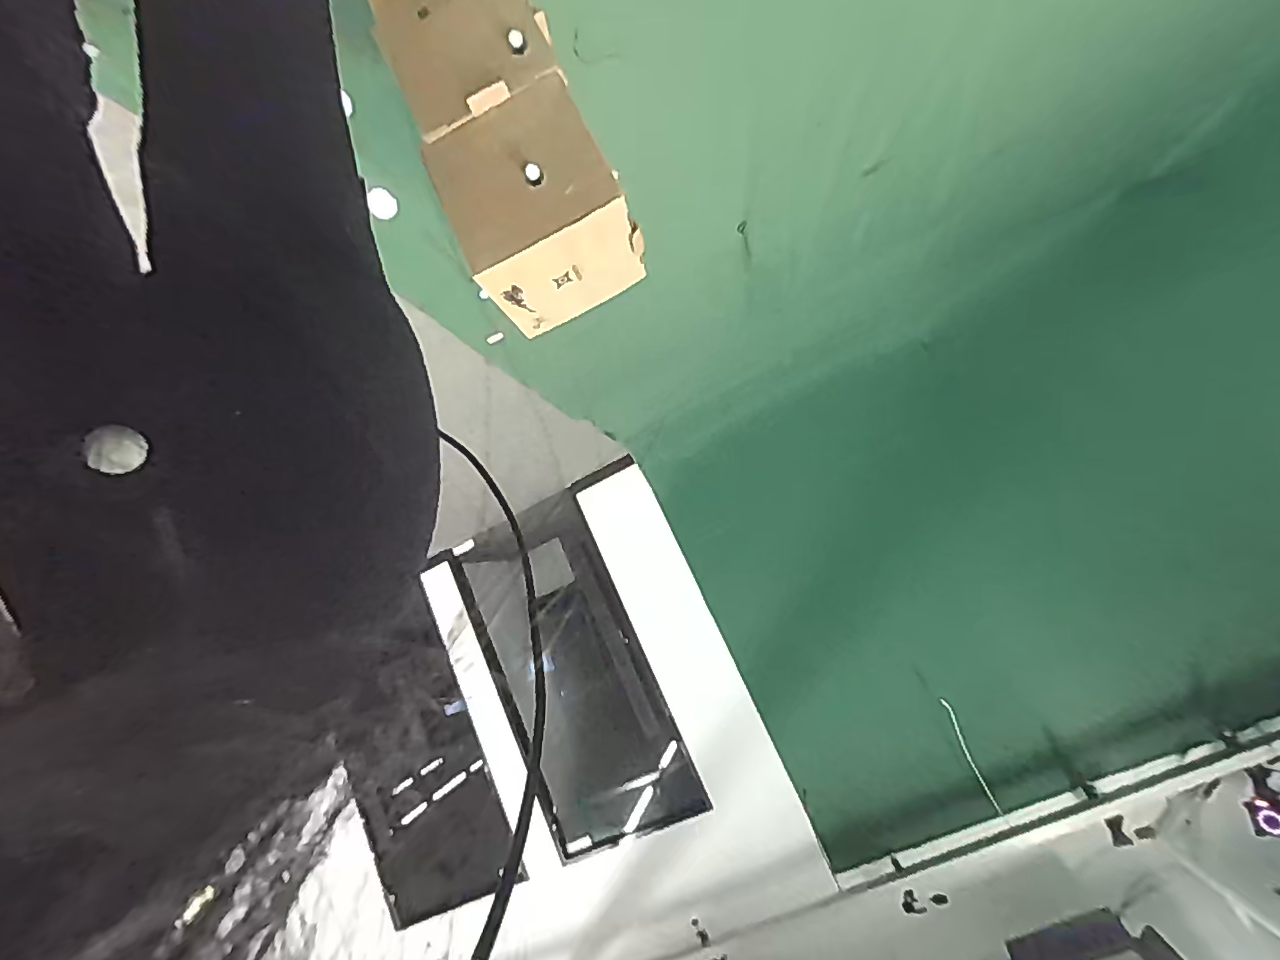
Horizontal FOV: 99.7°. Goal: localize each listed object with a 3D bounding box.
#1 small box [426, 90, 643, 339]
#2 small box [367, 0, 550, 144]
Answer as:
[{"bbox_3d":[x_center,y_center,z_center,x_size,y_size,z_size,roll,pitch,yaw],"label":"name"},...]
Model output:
[{"bbox_3d":[-0.117,-0.305,0.642,0.179,0.176,0.168,-27,170,4],"label":"small box"},{"bbox_3d":[-0.245,-0.601,0.711,0.179,0.176,0.168,-25,169,0],"label":"small box"}]
